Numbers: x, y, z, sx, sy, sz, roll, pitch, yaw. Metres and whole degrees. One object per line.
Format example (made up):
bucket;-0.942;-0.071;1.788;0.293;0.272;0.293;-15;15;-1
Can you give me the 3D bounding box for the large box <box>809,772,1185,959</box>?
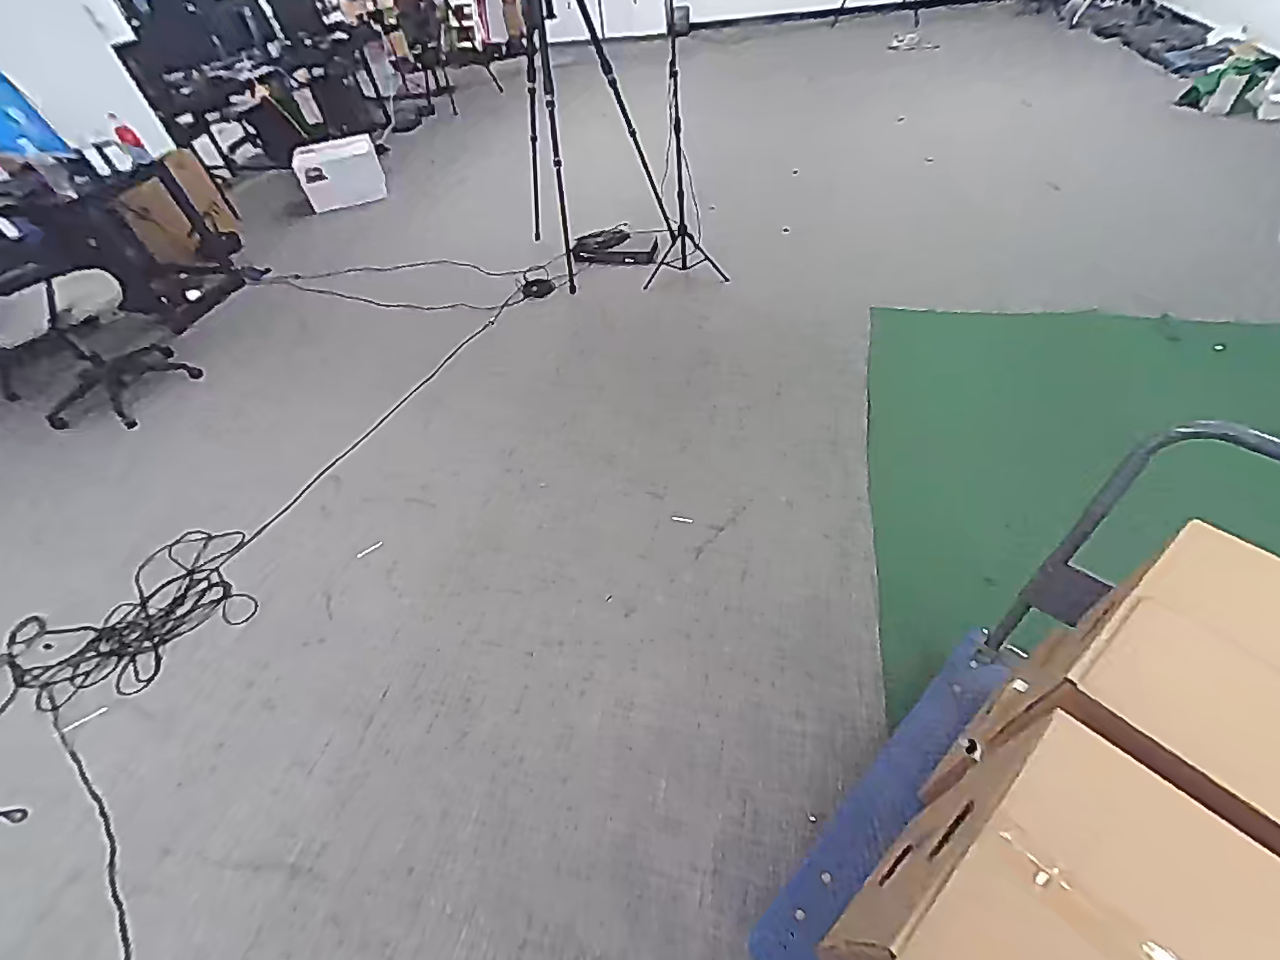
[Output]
large box;0.516;0.734;0.781;0.320;0.320;0.408;-35;51;-24
